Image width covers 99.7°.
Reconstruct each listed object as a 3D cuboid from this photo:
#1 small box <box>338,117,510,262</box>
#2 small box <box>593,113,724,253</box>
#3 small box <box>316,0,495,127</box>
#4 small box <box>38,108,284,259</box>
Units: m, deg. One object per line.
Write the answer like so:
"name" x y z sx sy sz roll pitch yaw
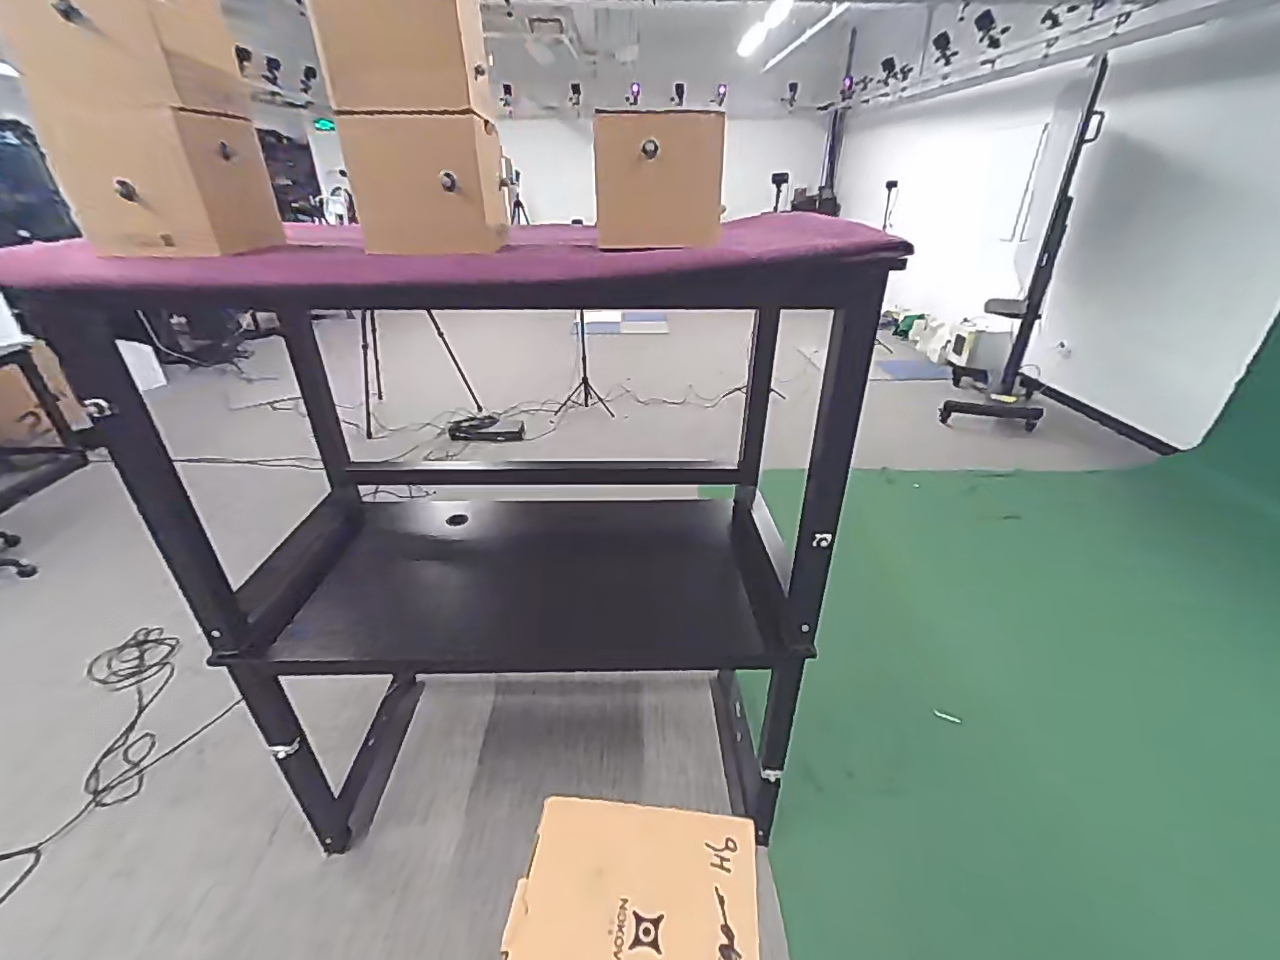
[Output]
"small box" -0.295 -0.420 0.788 0.179 0.176 0.168 -2 28 -1
"small box" 0.027 -0.438 0.817 0.179 0.176 0.168 0 26 0
"small box" -0.301 -0.564 0.712 0.179 0.176 0.168 -2 28 -4
"small box" -0.635 -0.406 0.751 0.168 0.176 0.179 0 29 -4
